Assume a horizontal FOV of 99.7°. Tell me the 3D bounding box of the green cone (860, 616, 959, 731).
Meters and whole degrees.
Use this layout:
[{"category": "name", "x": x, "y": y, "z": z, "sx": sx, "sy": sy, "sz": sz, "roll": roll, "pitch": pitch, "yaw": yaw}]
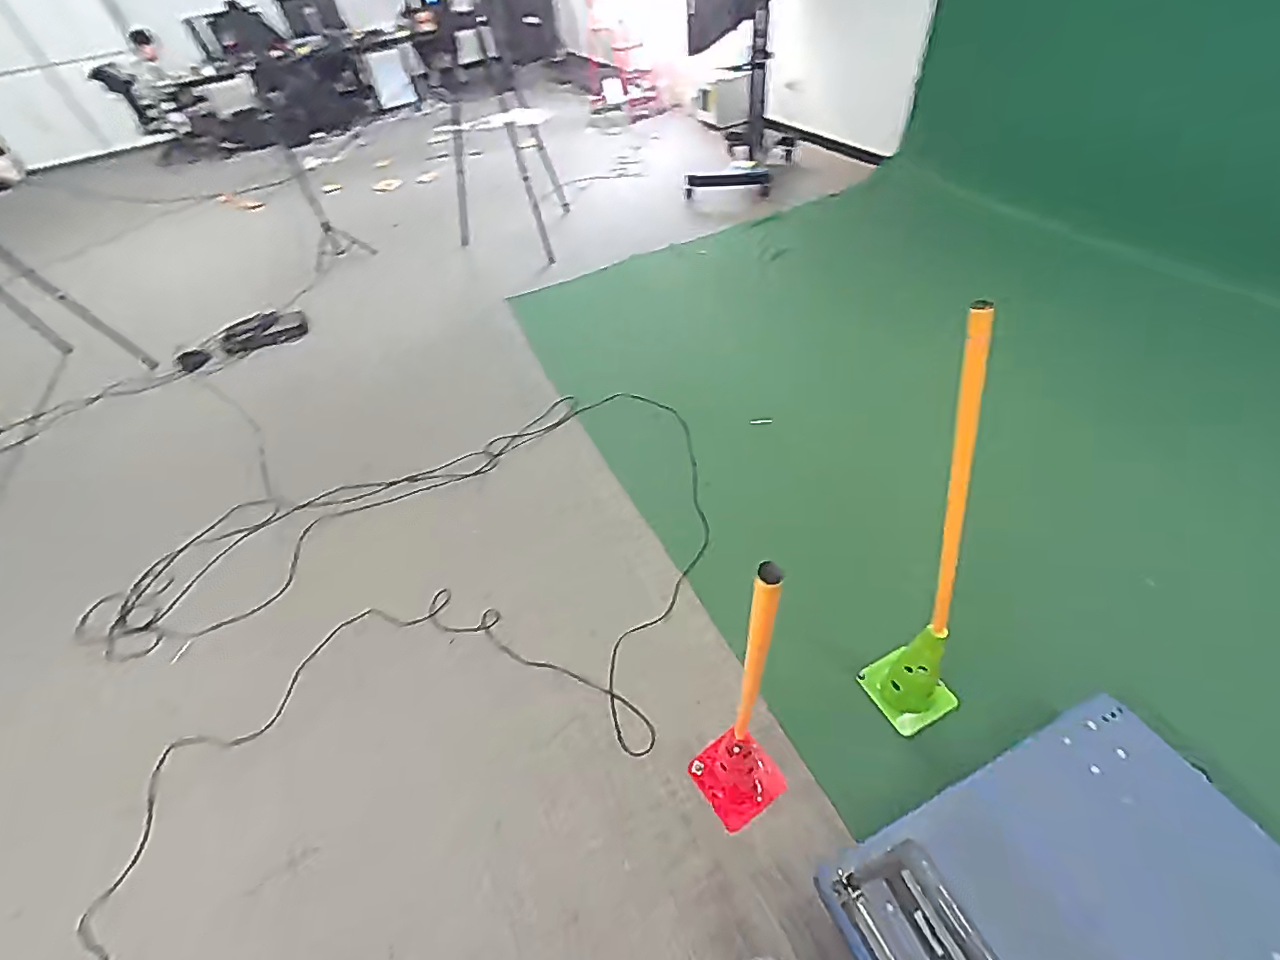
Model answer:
[{"category": "green cone", "x": 0.740, "y": 0.464, "z": 1.404, "sx": 0.202, "sy": 0.368, "sz": 0.200, "roll": -23, "pitch": 48, "yaw": -13}]
